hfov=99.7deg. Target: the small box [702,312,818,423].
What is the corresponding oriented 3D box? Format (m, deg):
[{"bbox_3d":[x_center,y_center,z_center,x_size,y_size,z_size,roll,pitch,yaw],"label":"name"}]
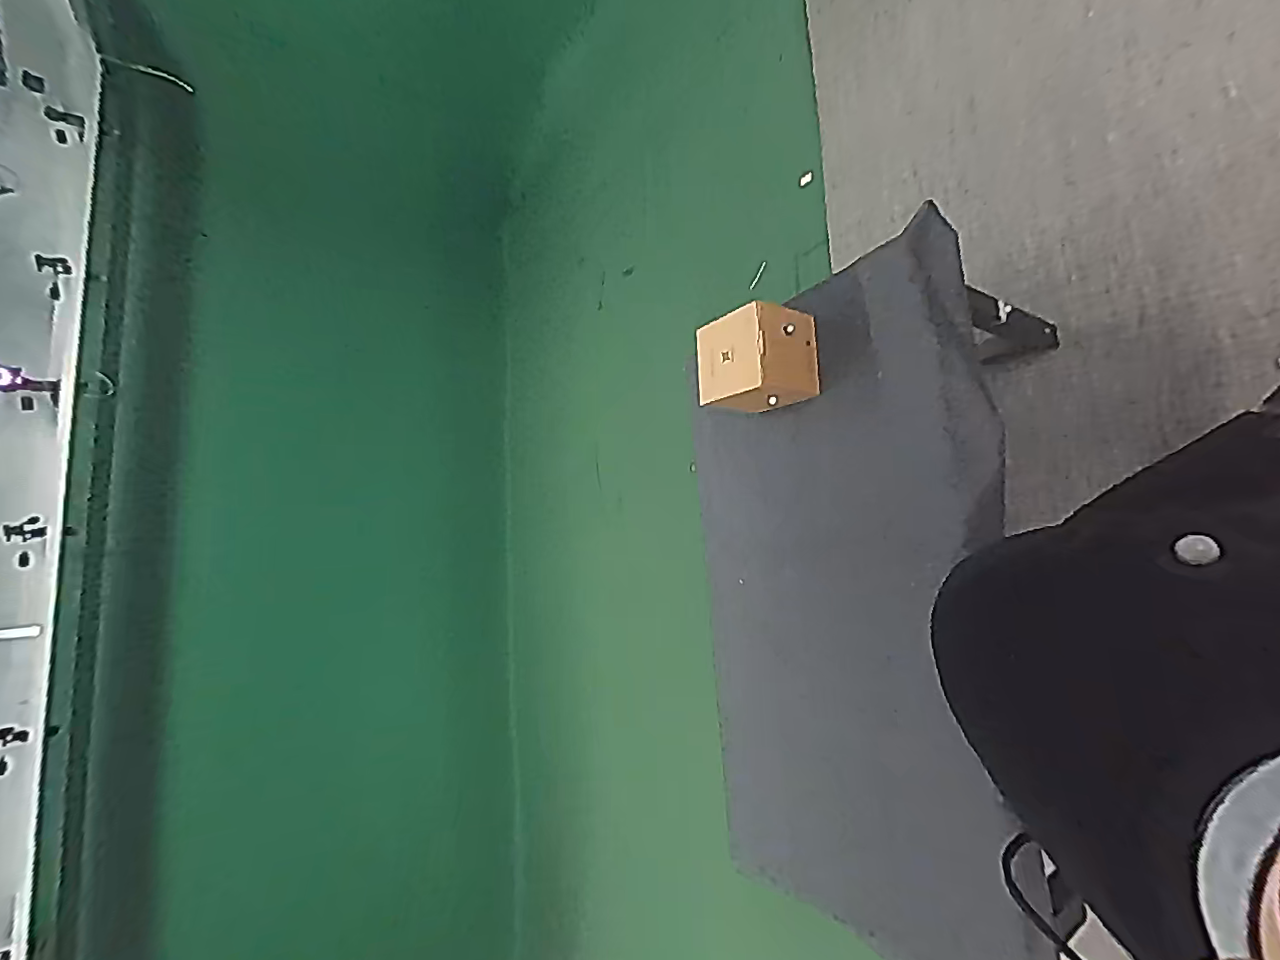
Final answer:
[{"bbox_3d":[0.247,-0.220,1.105,0.179,0.176,0.168,-12,75,56],"label":"small box"}]
